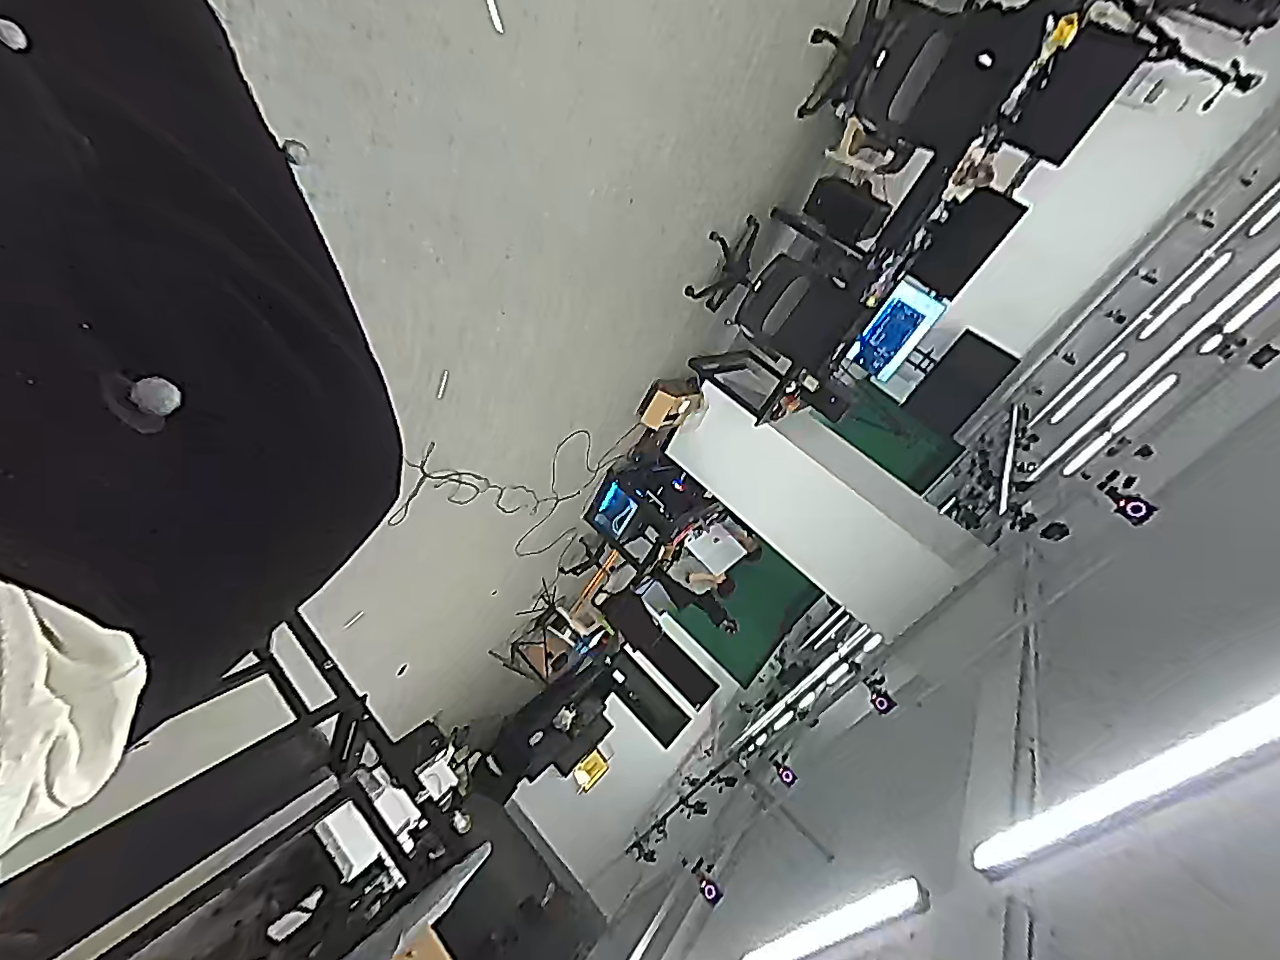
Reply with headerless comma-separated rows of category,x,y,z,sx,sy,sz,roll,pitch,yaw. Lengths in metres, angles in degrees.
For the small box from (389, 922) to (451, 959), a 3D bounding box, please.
small box,-0.799,1.728,1.908,0.179,0.176,0.168,-24,150,-50
